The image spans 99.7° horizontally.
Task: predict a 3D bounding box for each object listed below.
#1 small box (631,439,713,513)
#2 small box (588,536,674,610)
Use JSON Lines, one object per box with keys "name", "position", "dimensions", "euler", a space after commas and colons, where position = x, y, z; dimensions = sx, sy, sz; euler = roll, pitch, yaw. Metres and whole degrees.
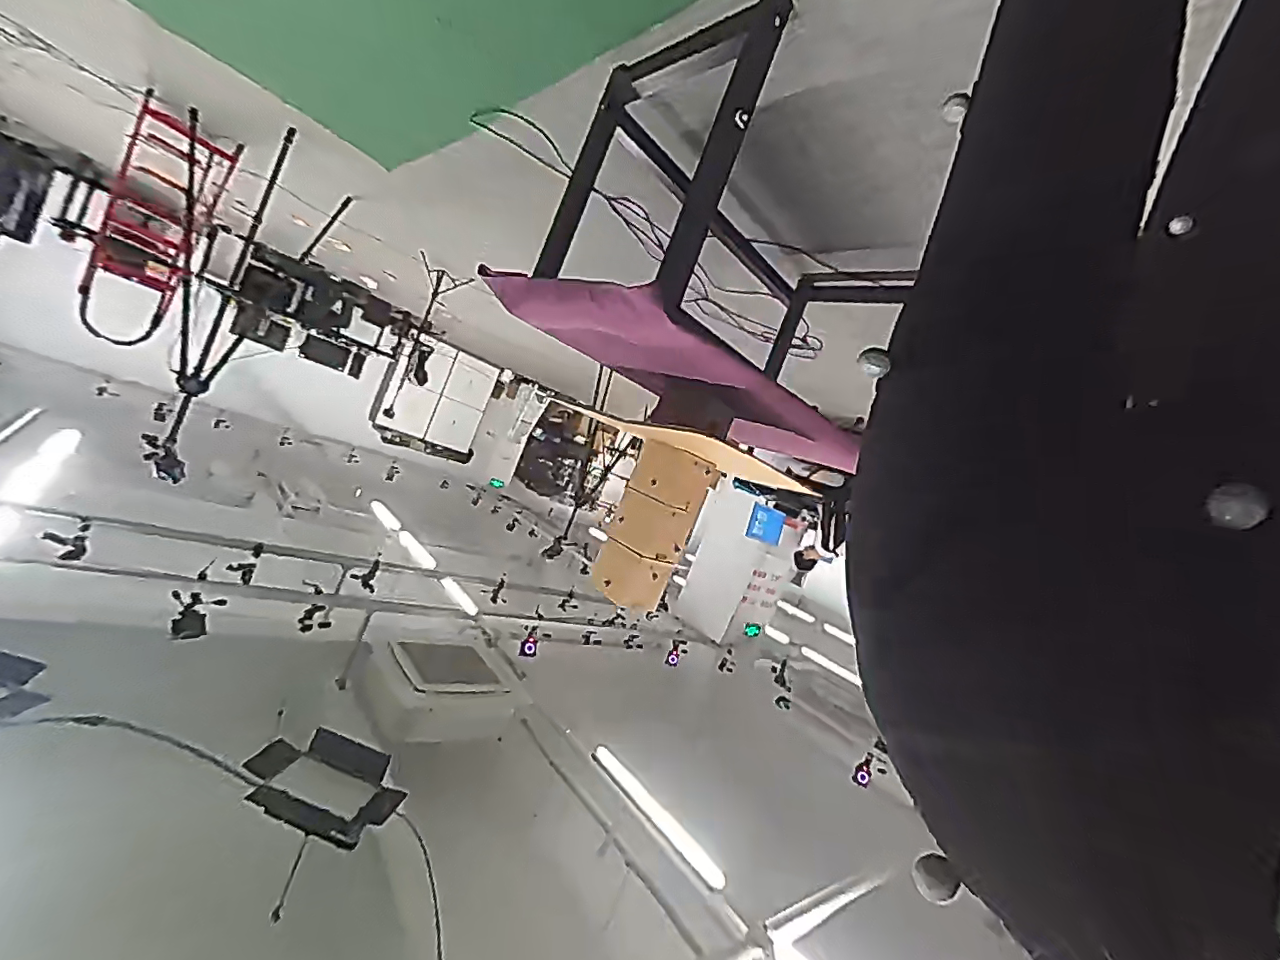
{"name": "small box", "position": [0.107, -0.016, 1.681], "dimensions": [0.168, 0.176, 0.179], "euler": [21, -177, -46]}
{"name": "small box", "position": [-0.025, 0.284, 1.692], "dimensions": [0.168, 0.176, 0.179], "euler": [21, -178, -44]}
